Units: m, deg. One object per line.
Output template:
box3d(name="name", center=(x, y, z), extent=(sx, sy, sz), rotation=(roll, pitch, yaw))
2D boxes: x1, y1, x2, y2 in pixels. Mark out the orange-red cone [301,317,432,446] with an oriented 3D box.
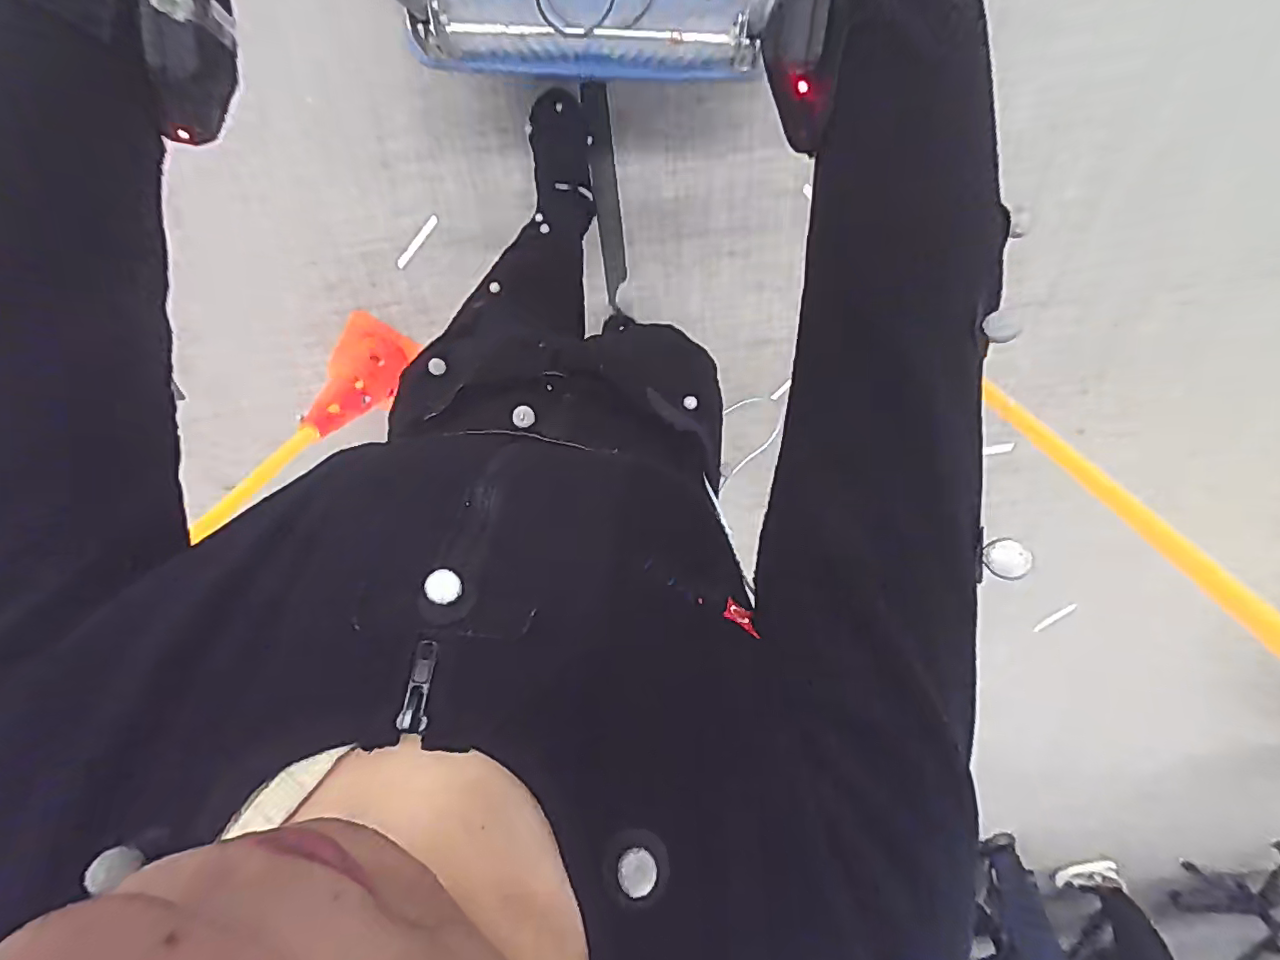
box3d(name="orange-red cone", center=(-0.612, -0.173, 1.138), extent=(0.198, 0.360, 0.199), rotation=(33, 114, -21))
